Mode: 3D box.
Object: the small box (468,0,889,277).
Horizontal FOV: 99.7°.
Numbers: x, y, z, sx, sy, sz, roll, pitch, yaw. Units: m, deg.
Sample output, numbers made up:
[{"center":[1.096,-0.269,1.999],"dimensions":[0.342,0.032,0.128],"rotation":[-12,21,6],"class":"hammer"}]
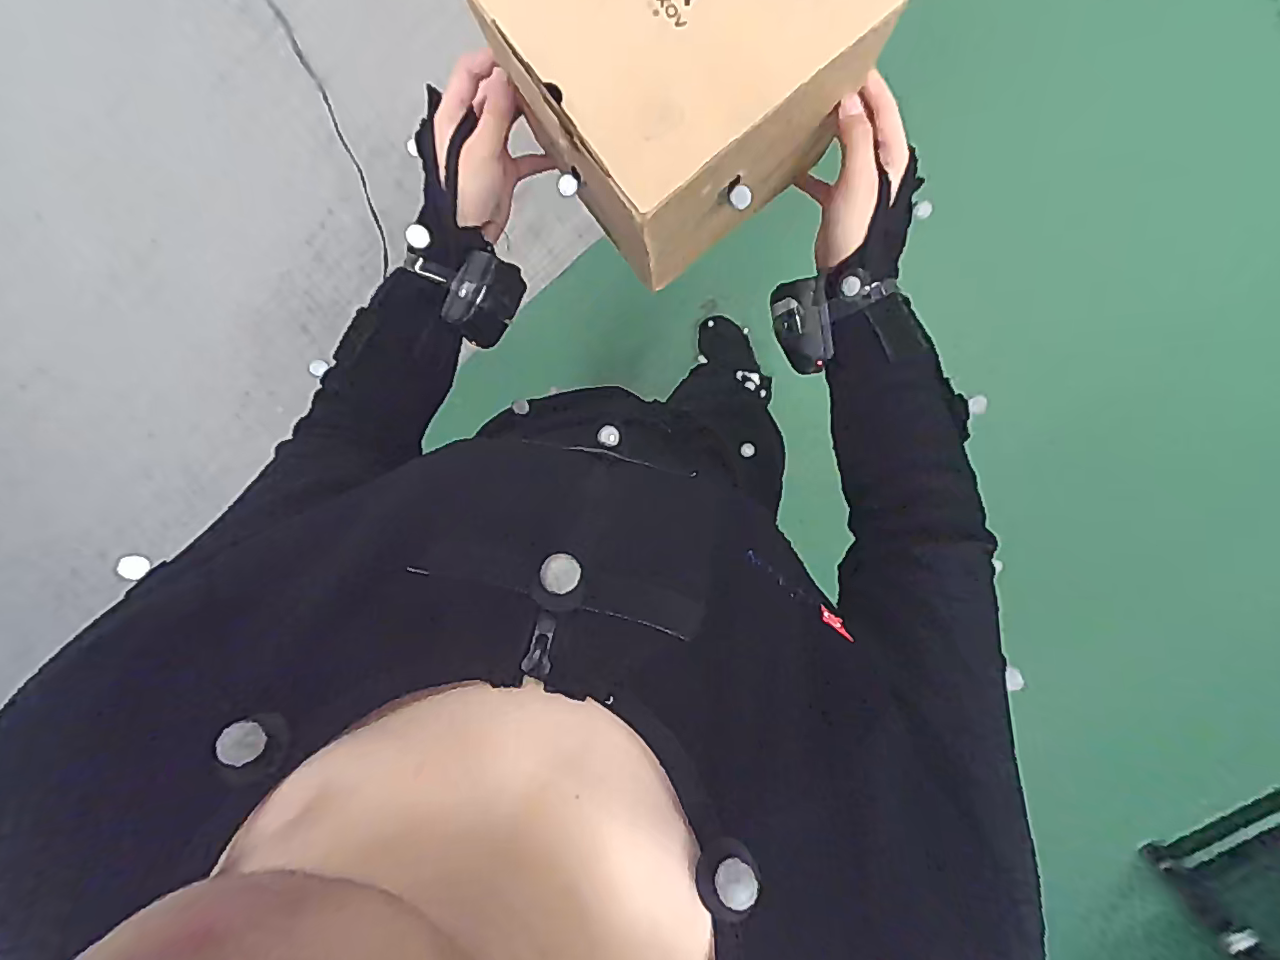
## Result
[{"center":[0.025,-0.271,0.370],"dimensions":[0.179,0.176,0.168],"rotation":[-38,92,7],"class":"small box"}]
